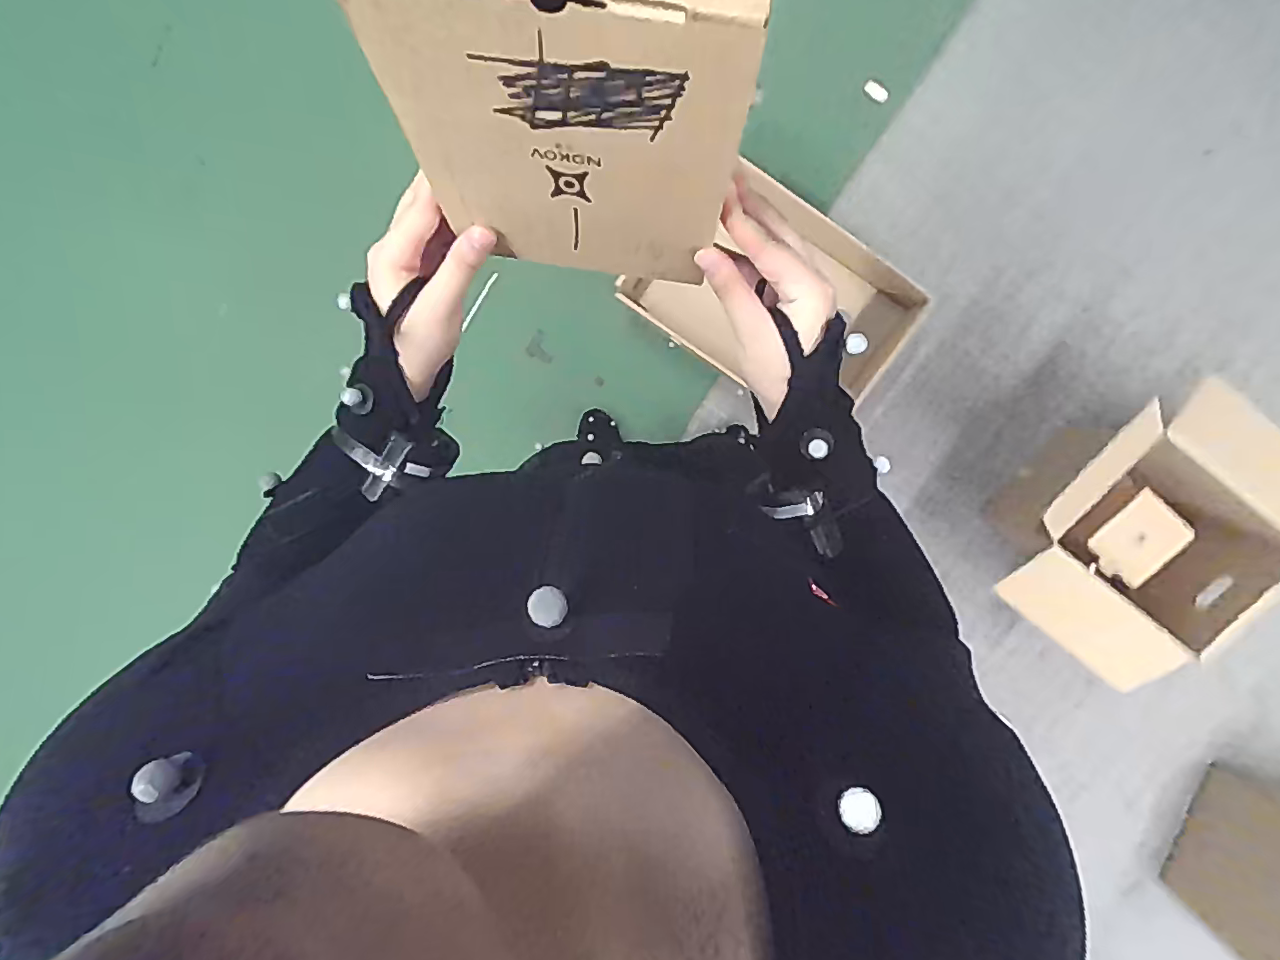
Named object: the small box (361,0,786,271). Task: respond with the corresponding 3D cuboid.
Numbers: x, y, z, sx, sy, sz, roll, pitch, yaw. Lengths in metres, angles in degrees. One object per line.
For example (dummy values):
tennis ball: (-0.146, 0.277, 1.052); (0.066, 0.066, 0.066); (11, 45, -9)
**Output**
small box: (-0.023, -0.244, 0.292); (0.168, 0.179, 0.176); (7, 80, -1)
